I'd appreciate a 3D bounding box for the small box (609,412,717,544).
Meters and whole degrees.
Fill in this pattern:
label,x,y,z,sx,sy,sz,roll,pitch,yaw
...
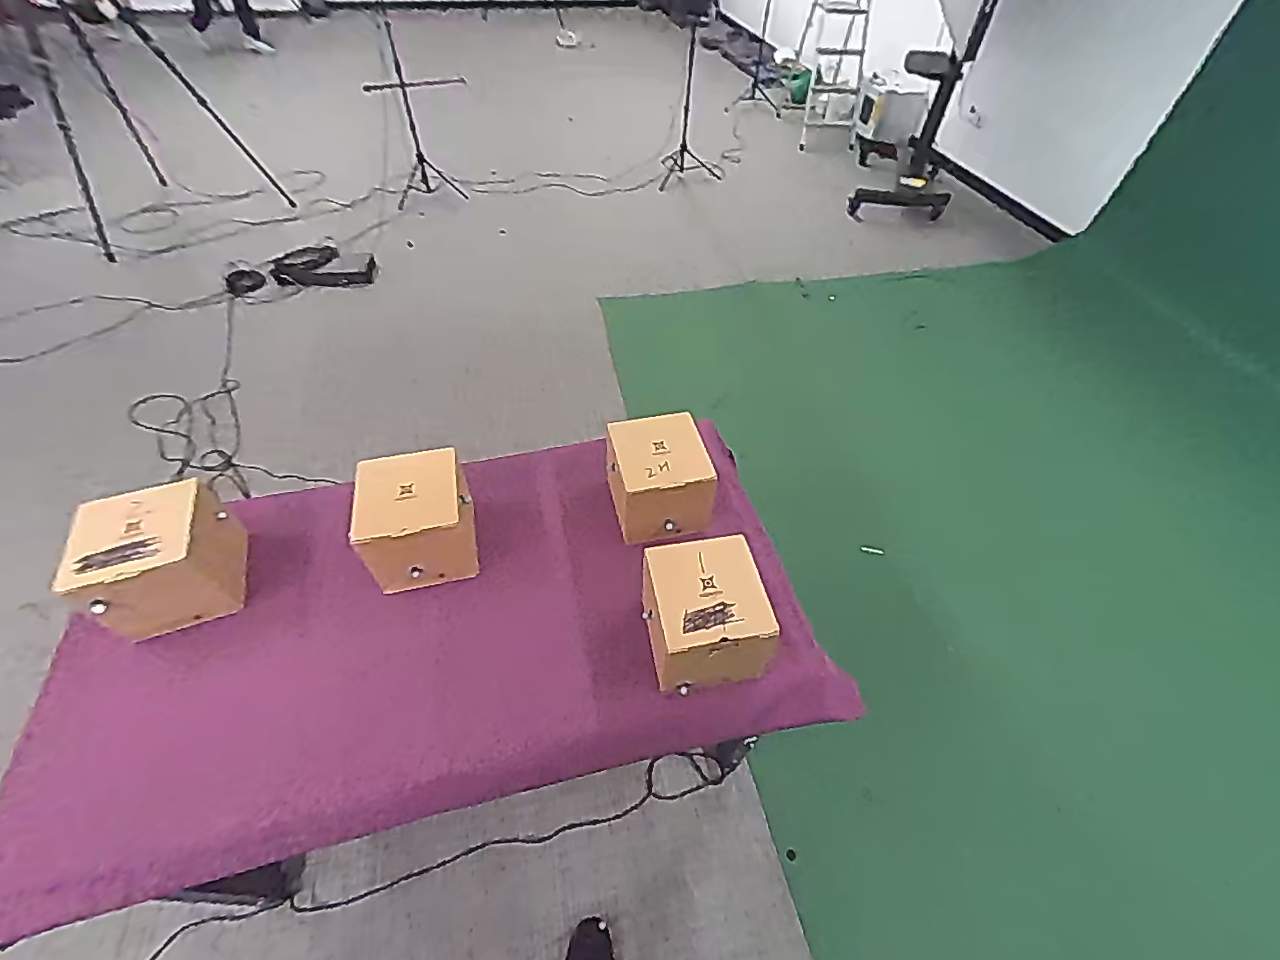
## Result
label,x,y,z,sx,sy,sz,roll,pitch,yaw
small box,0.034,-0.003,1.043,0.168,0.176,0.179,-10,52,-10

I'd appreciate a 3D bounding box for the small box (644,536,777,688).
label,x,y,z,sx,sy,sz,roll,pitch,yaw
small box,0.101,0.216,0.863,0.168,0.176,0.179,-7,49,-8

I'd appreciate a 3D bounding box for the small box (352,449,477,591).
label,x,y,z,sx,sy,sz,roll,pitch,yaw
small box,-0.392,0.072,0.962,0.168,0.176,0.179,-10,53,-12
